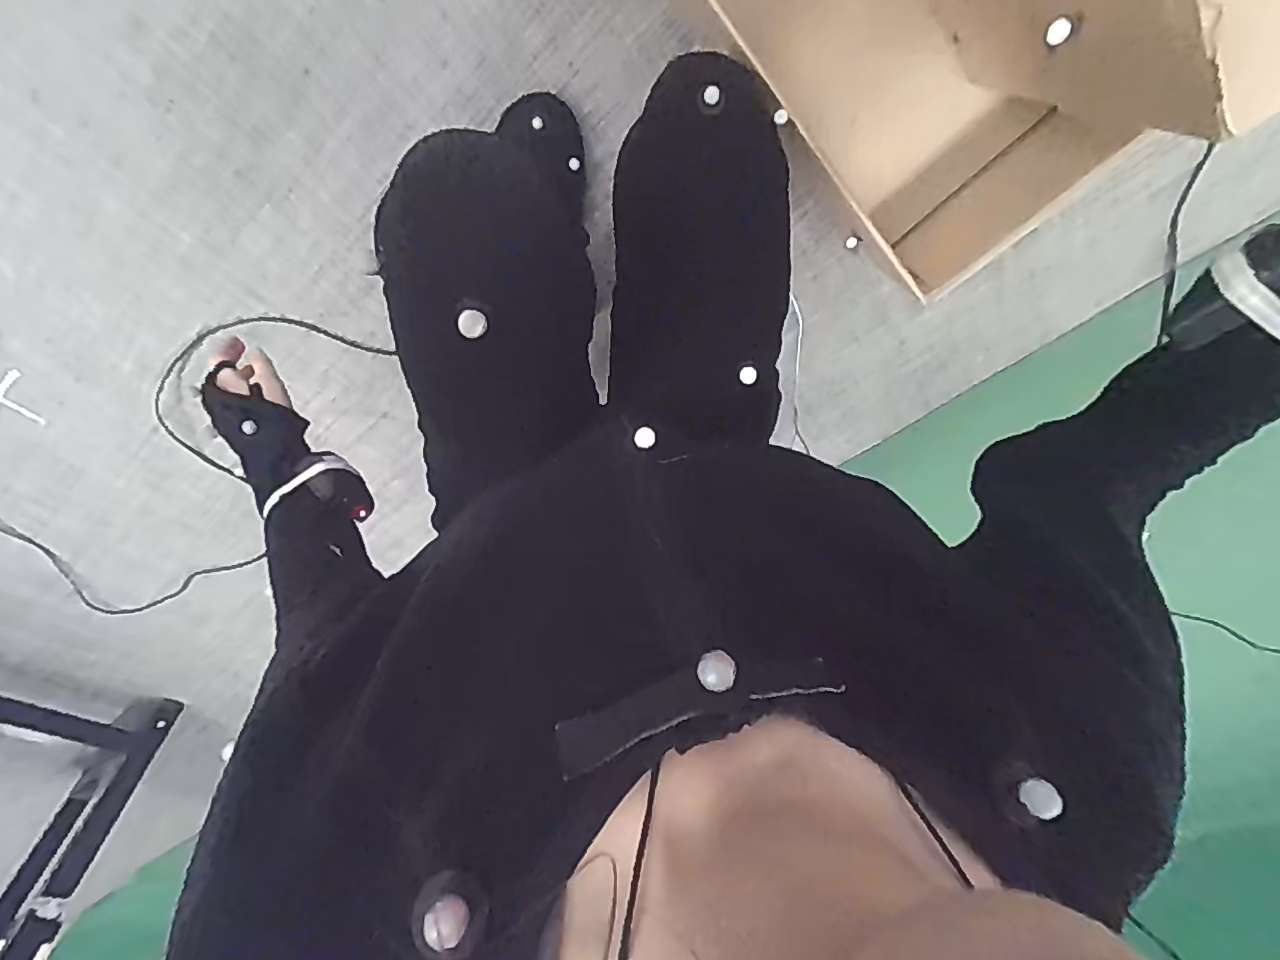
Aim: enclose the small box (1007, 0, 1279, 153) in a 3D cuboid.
[{"bbox_3d":[0.365,-0.350,0.330,0.179,0.176,0.168,-36,123,25],"label":"small box"}]
